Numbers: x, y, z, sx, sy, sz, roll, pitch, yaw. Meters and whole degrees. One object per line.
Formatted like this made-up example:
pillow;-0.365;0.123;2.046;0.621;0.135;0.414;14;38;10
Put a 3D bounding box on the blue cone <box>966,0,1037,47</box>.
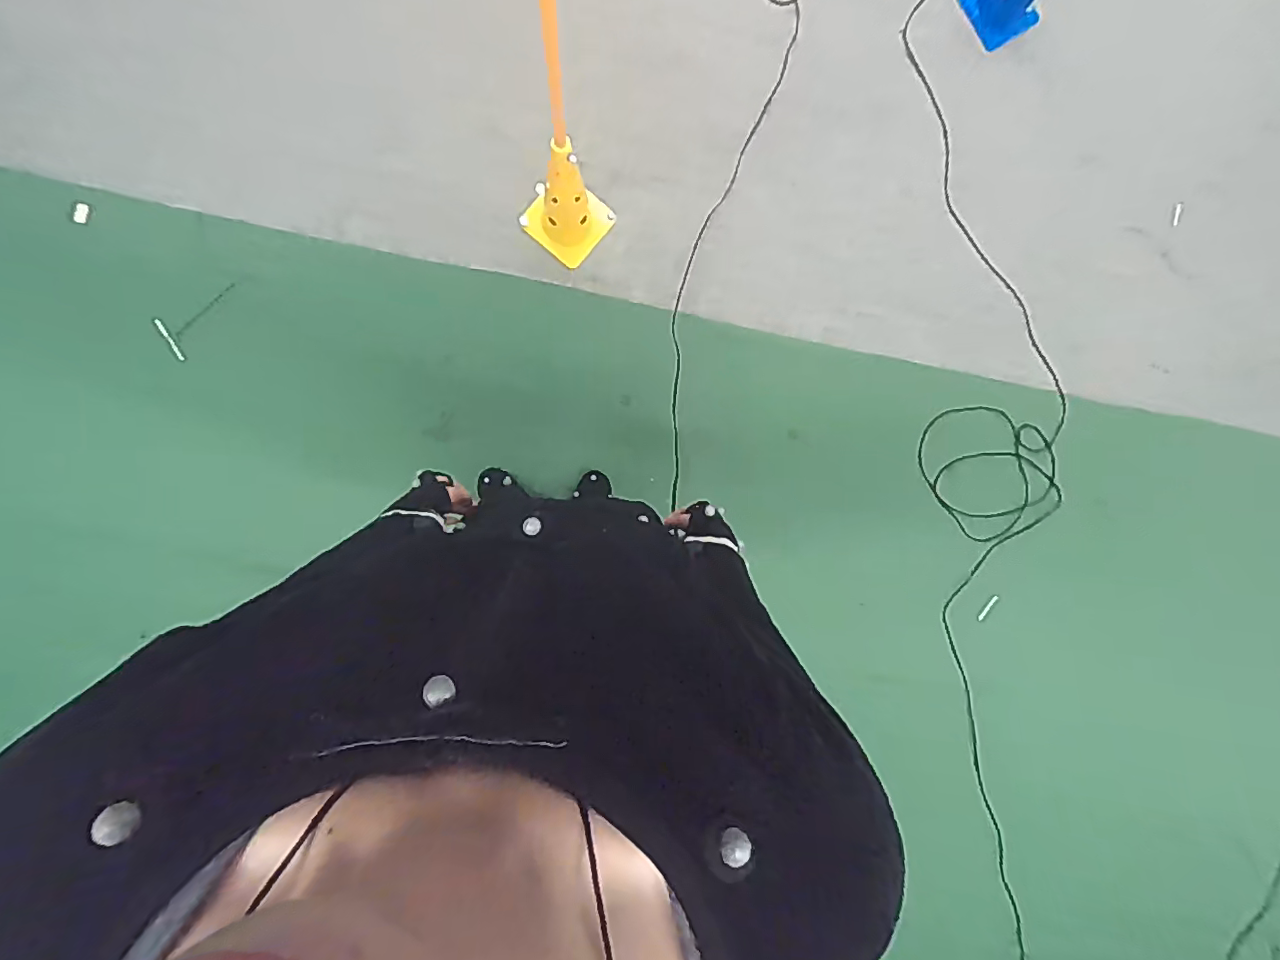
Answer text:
blue cone;1.081;-1.396;1.426;0.193;0.380;0.192;-36;93;-6
